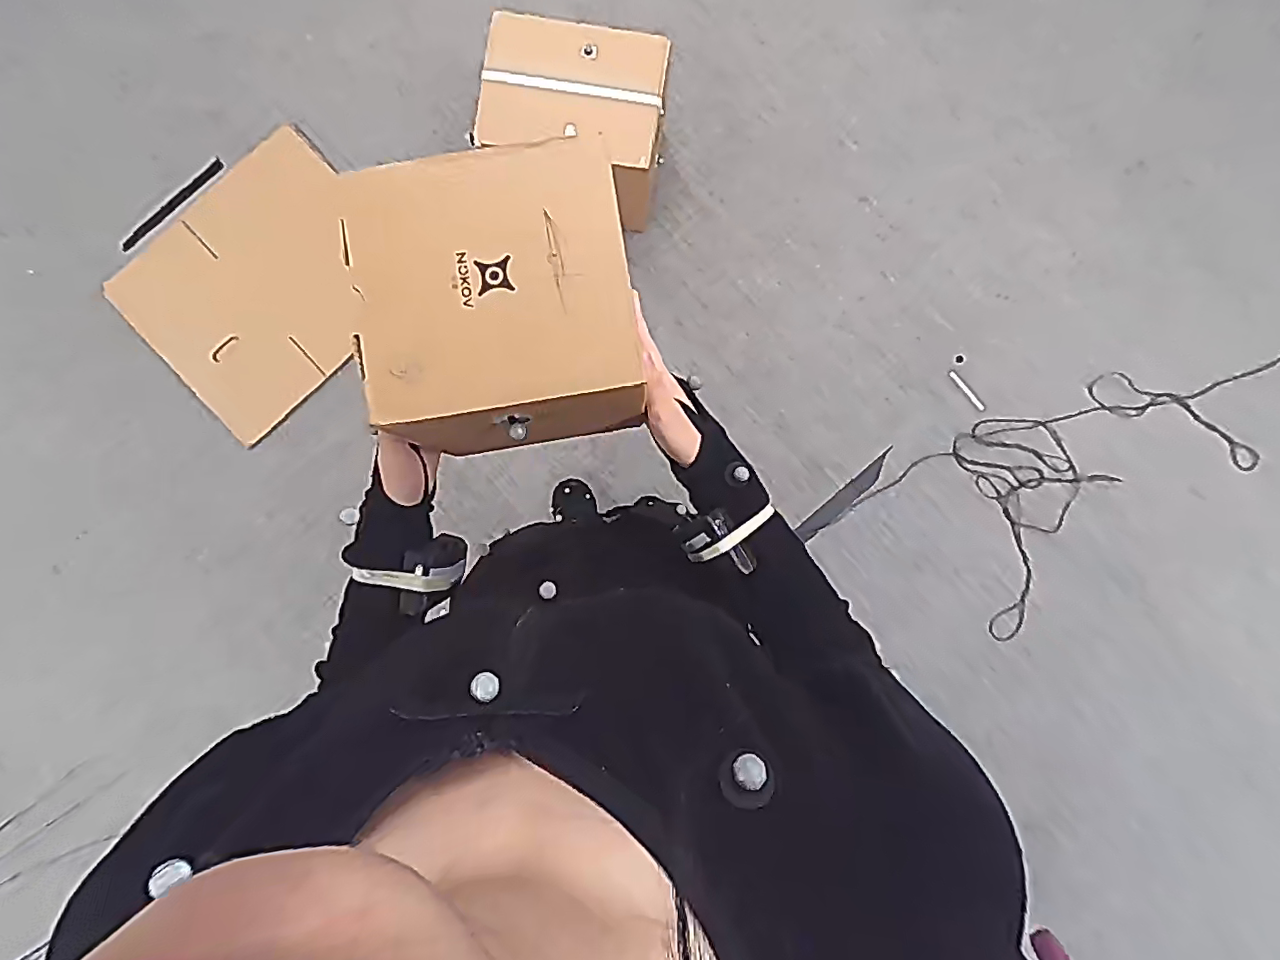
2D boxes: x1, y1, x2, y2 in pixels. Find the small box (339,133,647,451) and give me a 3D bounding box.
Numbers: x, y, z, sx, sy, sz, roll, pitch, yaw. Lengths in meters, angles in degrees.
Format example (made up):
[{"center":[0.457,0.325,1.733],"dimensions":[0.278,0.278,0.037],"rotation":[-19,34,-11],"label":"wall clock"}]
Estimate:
[{"center":[-0.092,-0.121,0.415],"dimensions":[0.179,0.176,0.168],"rotation":[-10,87,-1],"label":"small box"}]
